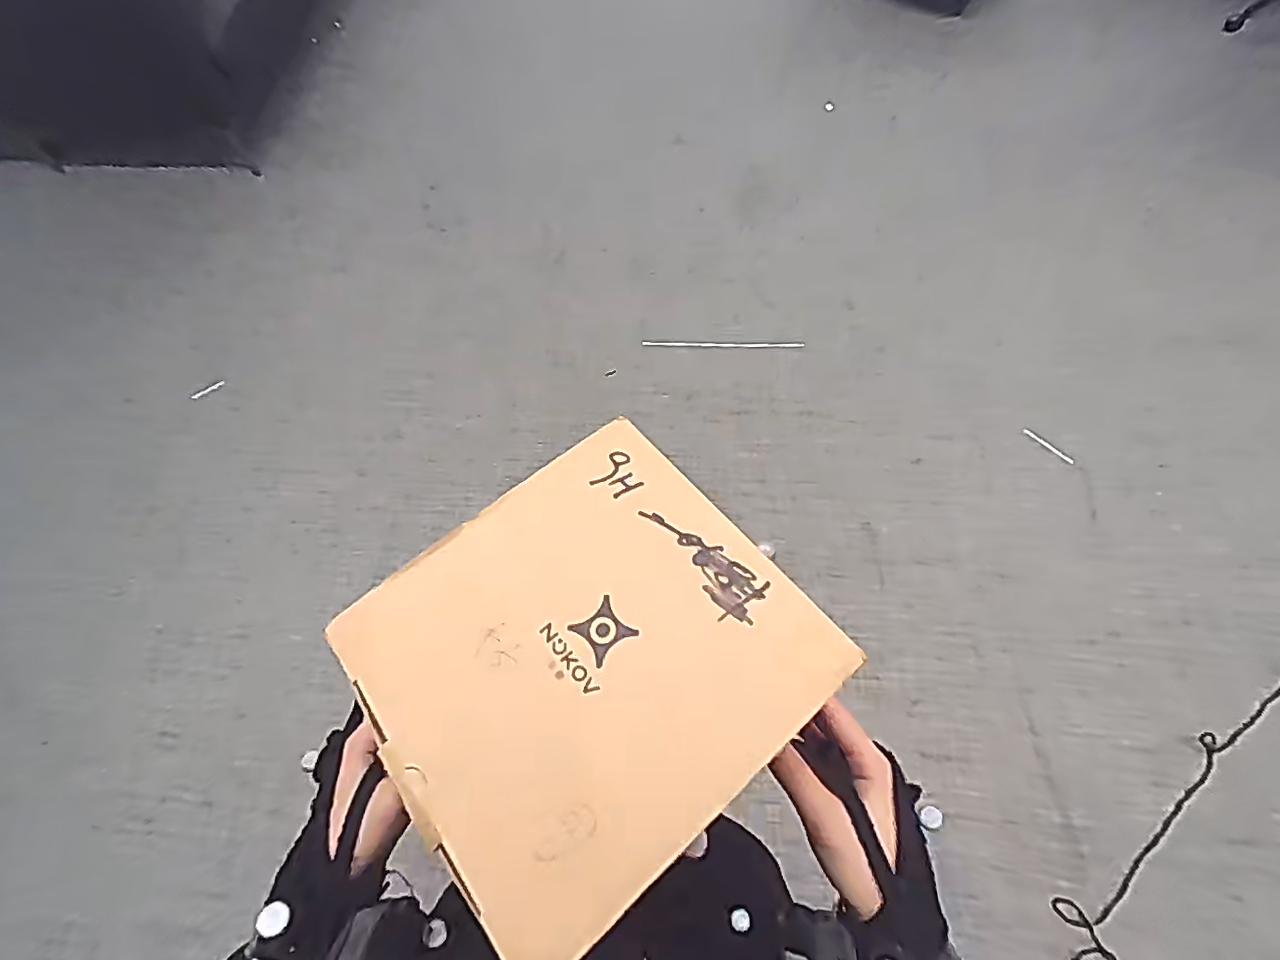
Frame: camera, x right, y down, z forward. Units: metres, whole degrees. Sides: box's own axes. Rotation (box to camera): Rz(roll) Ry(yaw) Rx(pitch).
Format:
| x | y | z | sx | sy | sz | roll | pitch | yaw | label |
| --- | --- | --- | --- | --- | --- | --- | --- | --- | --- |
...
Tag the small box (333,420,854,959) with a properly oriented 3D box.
| x | y | z | sx | sy | sz | roll | pitch | yaw | label |
| --- | --- | --- | --- | --- | --- | --- | --- | --- | --- |
| -0.019 | 0.108 | 0.305 | 0.179 | 0.176 | 0.168 | -37 | 65 | -16 | small box |
